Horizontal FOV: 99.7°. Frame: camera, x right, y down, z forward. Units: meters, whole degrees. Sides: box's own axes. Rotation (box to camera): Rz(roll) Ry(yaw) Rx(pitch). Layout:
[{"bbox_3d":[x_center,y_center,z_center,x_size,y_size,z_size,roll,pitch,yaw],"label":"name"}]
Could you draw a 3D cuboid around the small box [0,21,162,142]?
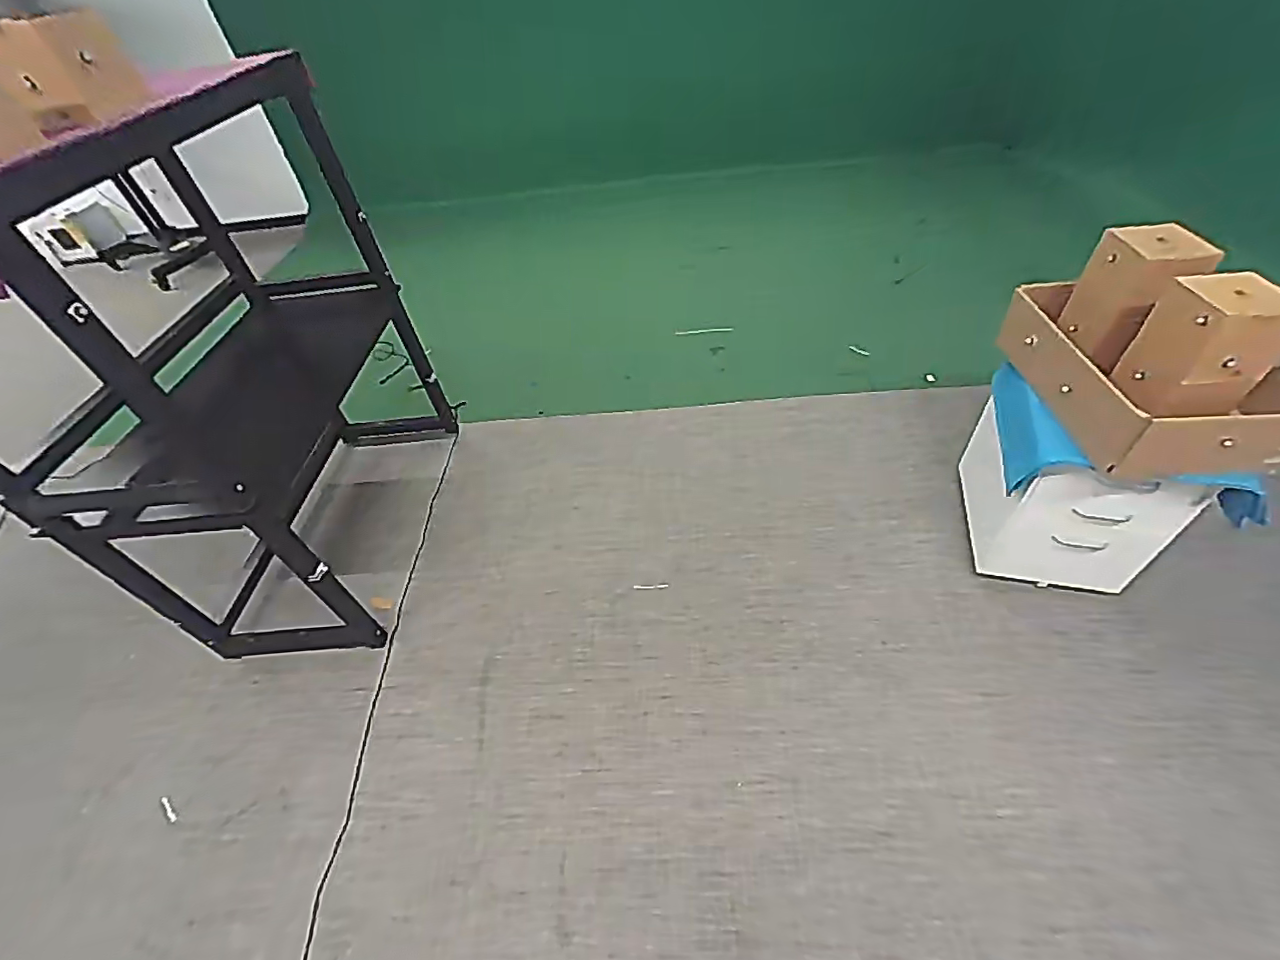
[{"bbox_3d":[-1.173,-0.825,1.130,0.168,0.176,0.179,-3,46,8],"label":"small box"}]
